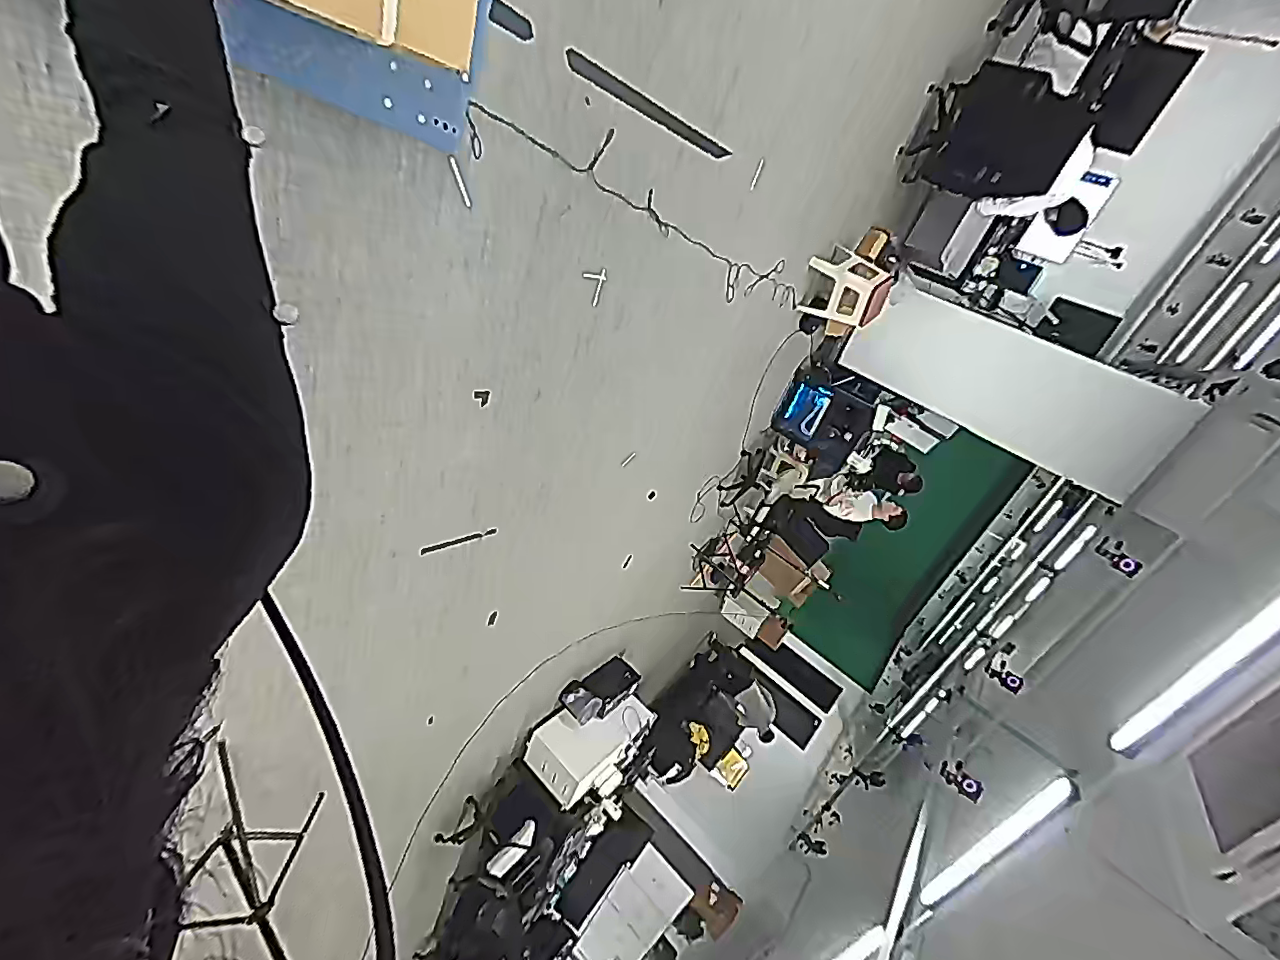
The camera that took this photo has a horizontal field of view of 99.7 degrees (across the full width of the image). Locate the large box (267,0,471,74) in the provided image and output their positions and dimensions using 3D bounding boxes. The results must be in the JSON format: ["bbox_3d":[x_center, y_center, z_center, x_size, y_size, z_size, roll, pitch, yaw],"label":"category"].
[{"bbox_3d":[-0.459,-0.933,0.815,0.320,0.320,0.408,-20,139,-50],"label":"large box"}]
